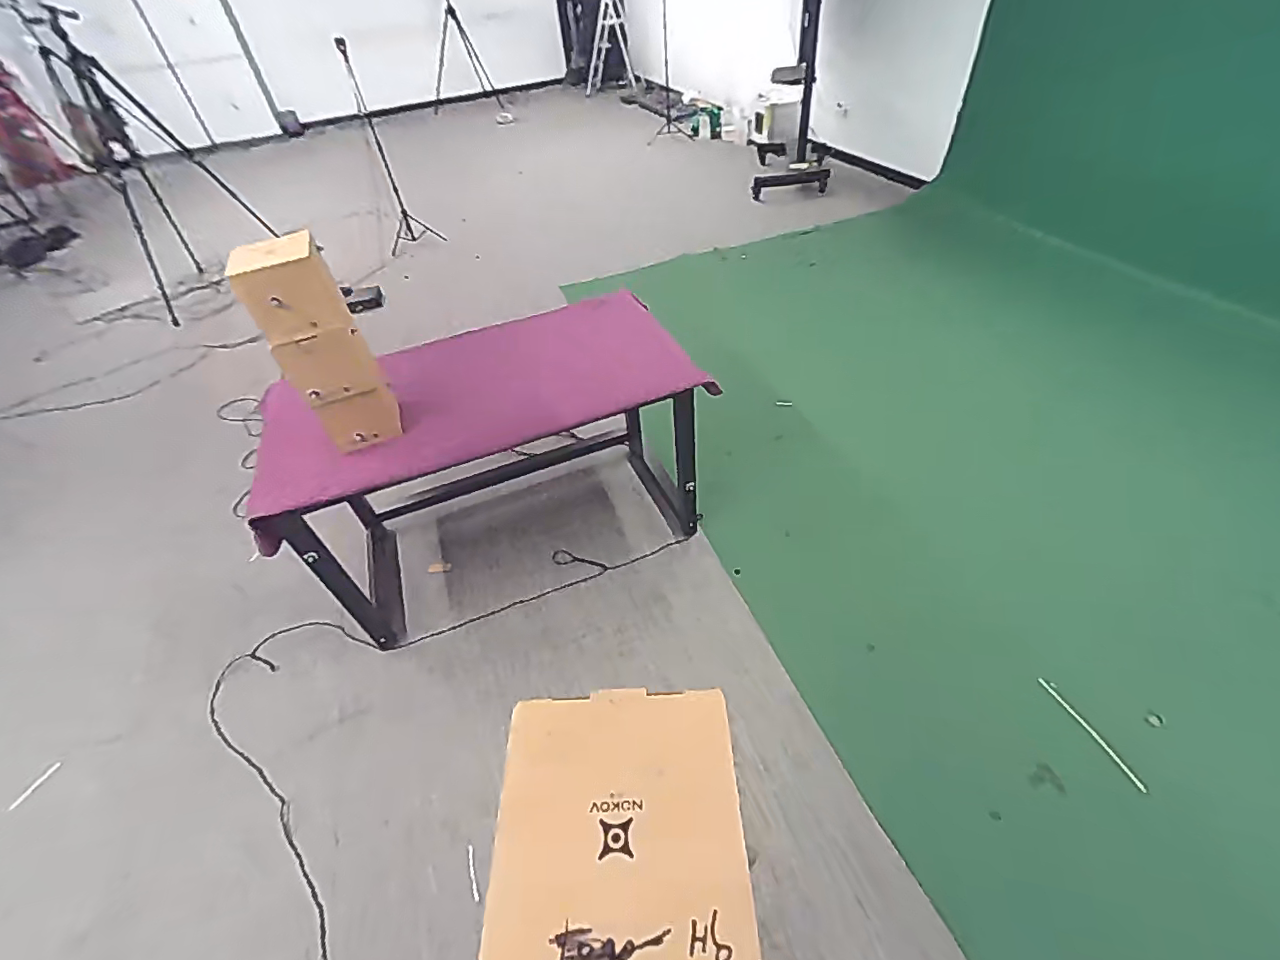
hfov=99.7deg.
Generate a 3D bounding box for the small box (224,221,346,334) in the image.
[{"bbox_3d":[-0.772,-0.441,1.193,0.168,0.176,0.179,-21,46,-13],"label":"small box"}]

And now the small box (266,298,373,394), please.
[{"bbox_3d":[-0.763,-0.327,1.307,0.168,0.176,0.179,-19,46,-12],"label":"small box"}]

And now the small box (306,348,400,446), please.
[{"bbox_3d":[-0.753,-0.219,1.430,0.168,0.176,0.179,-19,47,-12],"label":"small box"}]
